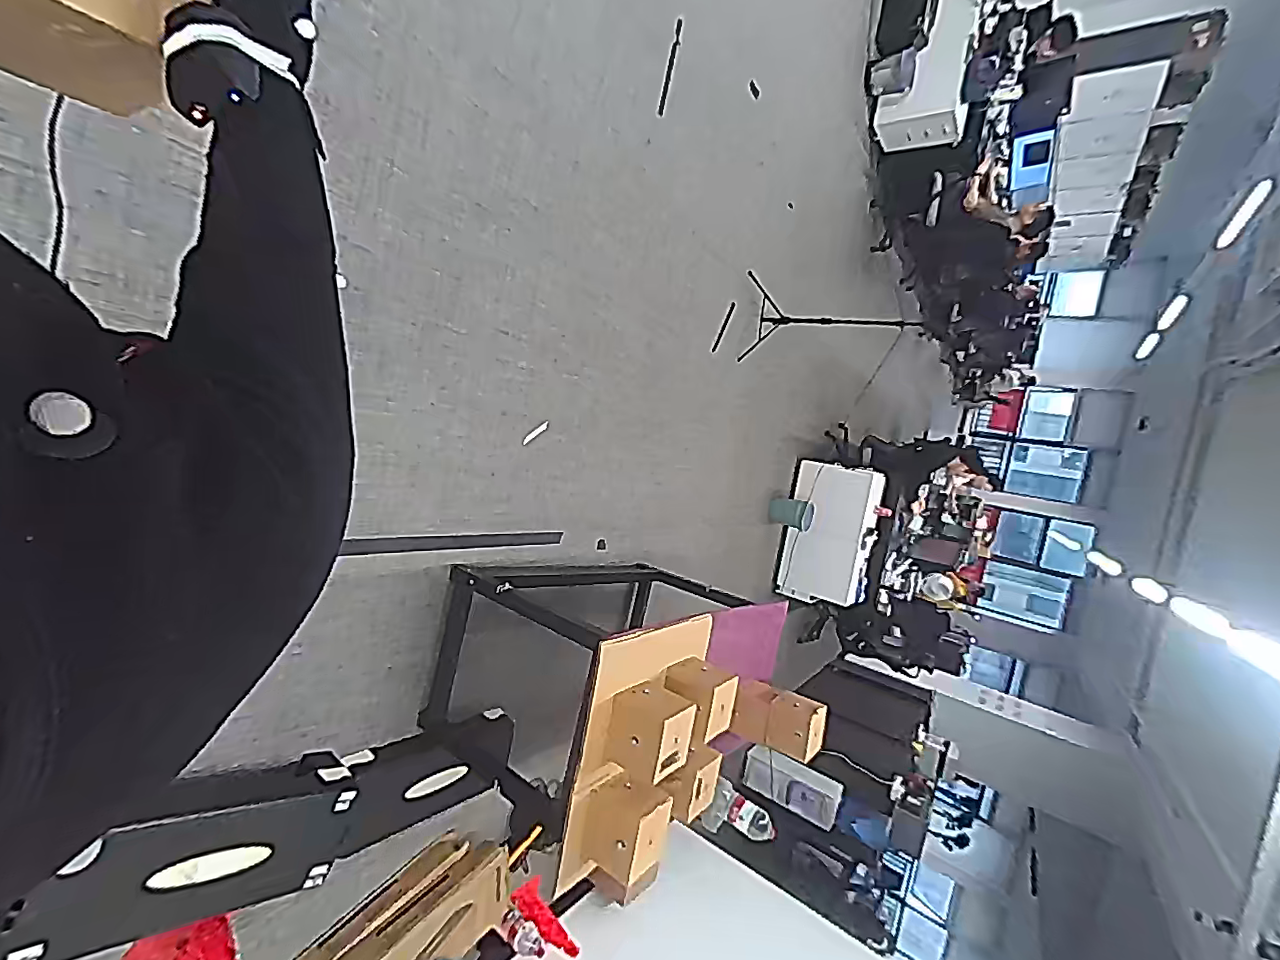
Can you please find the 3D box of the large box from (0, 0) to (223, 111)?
[{"bbox_3d":[-0.546,-0.506,0.333,0.408,0.320,0.320,-3,108,-54],"label":"large box"}]
